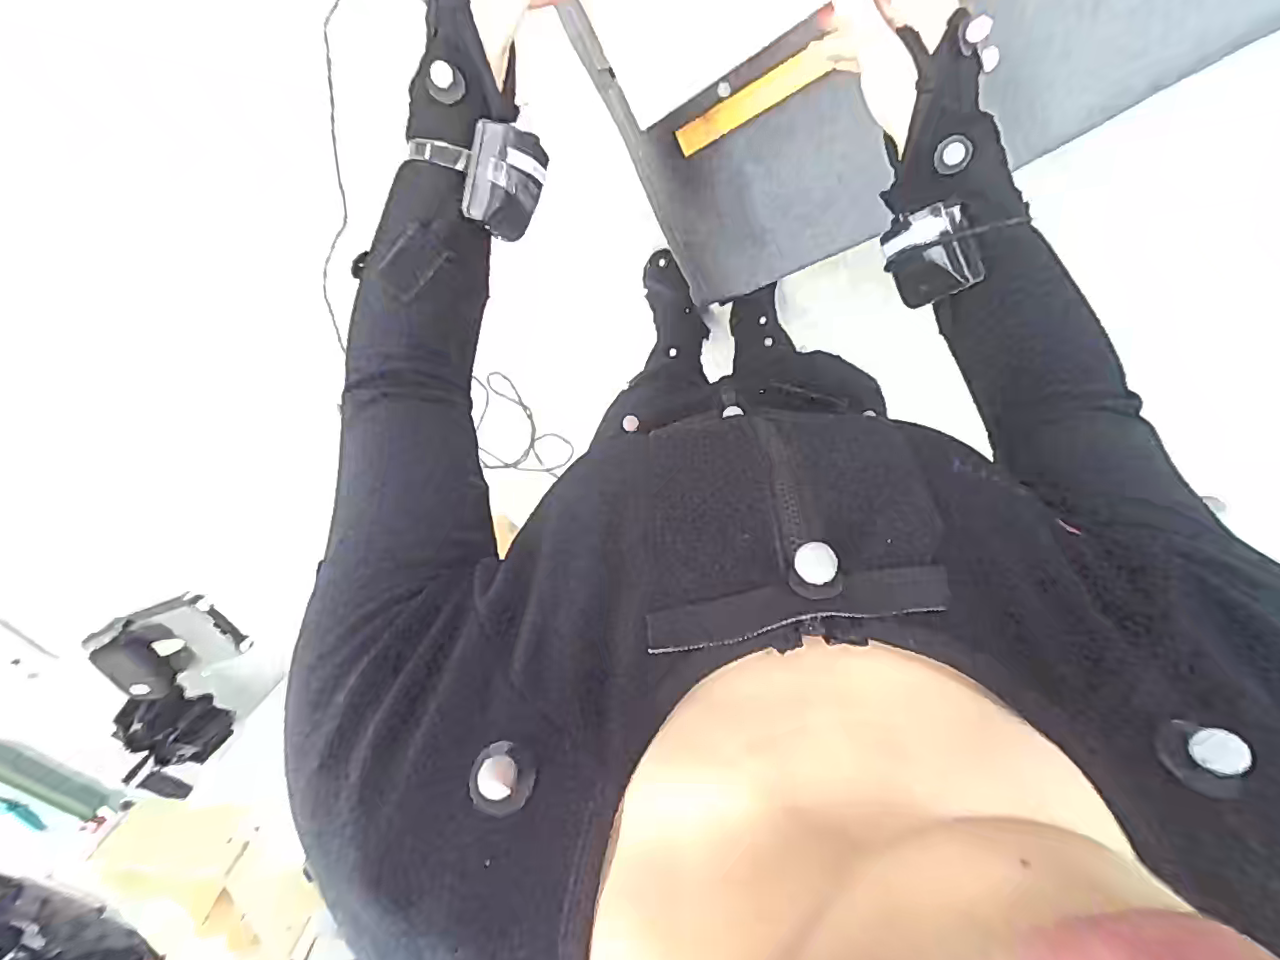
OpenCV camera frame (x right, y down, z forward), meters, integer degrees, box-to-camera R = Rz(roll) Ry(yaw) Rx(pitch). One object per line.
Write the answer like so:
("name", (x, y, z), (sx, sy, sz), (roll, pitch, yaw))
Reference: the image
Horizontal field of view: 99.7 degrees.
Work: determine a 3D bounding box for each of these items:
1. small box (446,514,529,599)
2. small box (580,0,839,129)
("small box", (-0.469, 0.236, 1.704), (0.179, 0.176, 0.168), (-27, 116, 19))
("small box", (0.032, -0.410, 0.420), (0.168, 0.176, 0.179), (-25, 119, 16))
